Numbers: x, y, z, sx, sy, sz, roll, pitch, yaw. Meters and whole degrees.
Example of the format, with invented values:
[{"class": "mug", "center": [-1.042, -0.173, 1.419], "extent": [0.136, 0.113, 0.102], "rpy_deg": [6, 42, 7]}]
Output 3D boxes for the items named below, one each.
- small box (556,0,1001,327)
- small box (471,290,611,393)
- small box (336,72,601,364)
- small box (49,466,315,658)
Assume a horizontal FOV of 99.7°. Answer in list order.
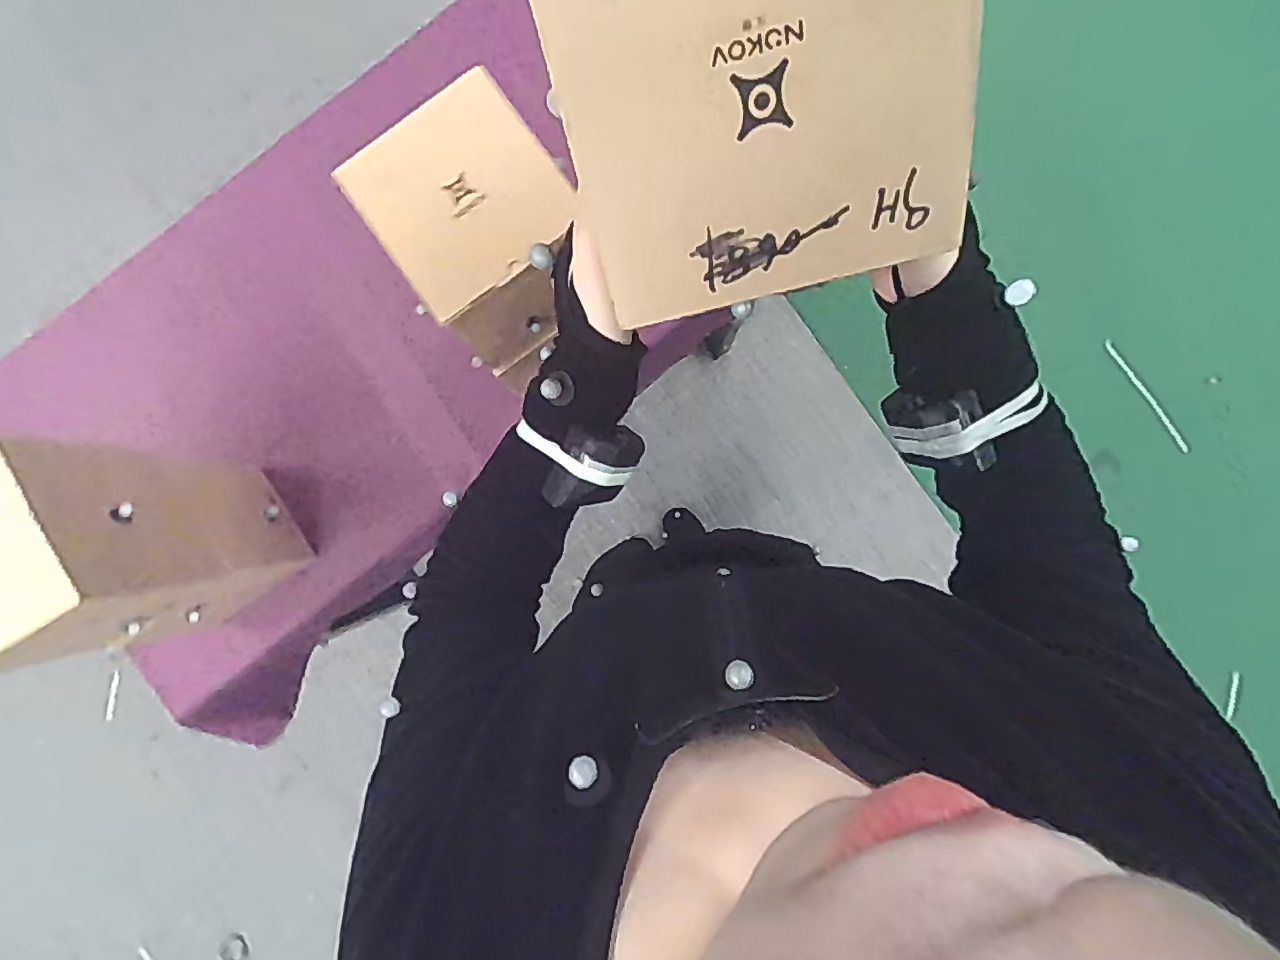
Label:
[{"class": "small box", "center": [0.057, -0.203, 0.282], "extent": [0.168, 0.176, 0.179], "rpy_deg": [-11, 122, 8]}, {"class": "small box", "center": [-0.154, -0.232, 0.722], "extent": [0.168, 0.176, 0.179], "rpy_deg": [-38, 87, 0]}, {"class": "small box", "center": [-0.157, -0.248, 0.559], "extent": [0.168, 0.176, 0.179], "rpy_deg": [-38, 89, 0]}, {"class": "small box", "center": [-0.587, 0.101, 0.719], "extent": [0.179, 0.176, 0.168], "rpy_deg": [-35, 88, -1]}]
